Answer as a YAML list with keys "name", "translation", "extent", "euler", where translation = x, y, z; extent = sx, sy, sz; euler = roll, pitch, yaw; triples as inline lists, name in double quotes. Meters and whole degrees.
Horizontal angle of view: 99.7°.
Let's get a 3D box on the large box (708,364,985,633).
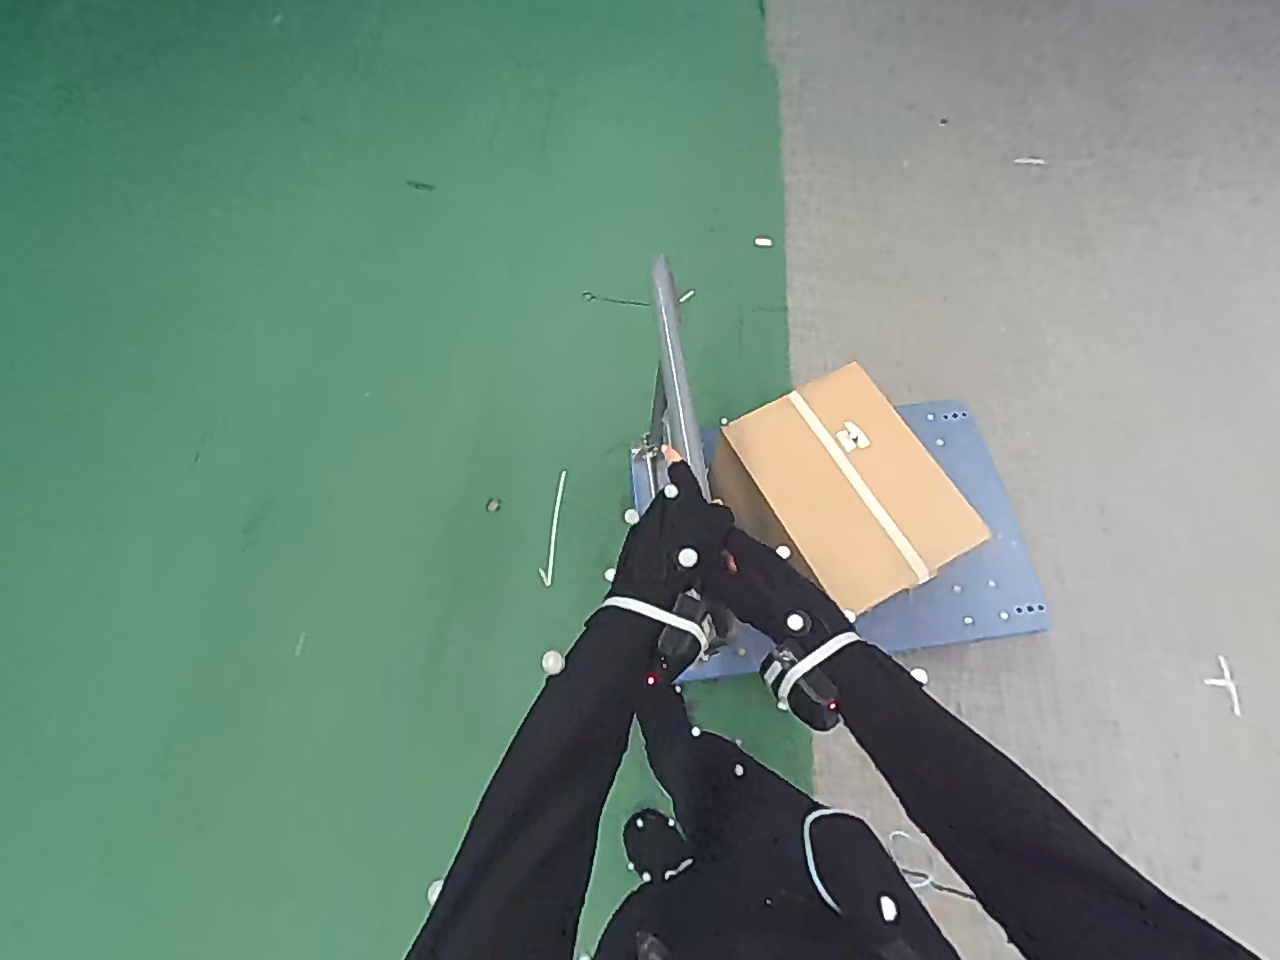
- name: "large box"
  translation: [0.379, 0.051, 1.114]
  extent: [0.320, 0.320, 0.408]
  euler: [-26, 70, -9]
